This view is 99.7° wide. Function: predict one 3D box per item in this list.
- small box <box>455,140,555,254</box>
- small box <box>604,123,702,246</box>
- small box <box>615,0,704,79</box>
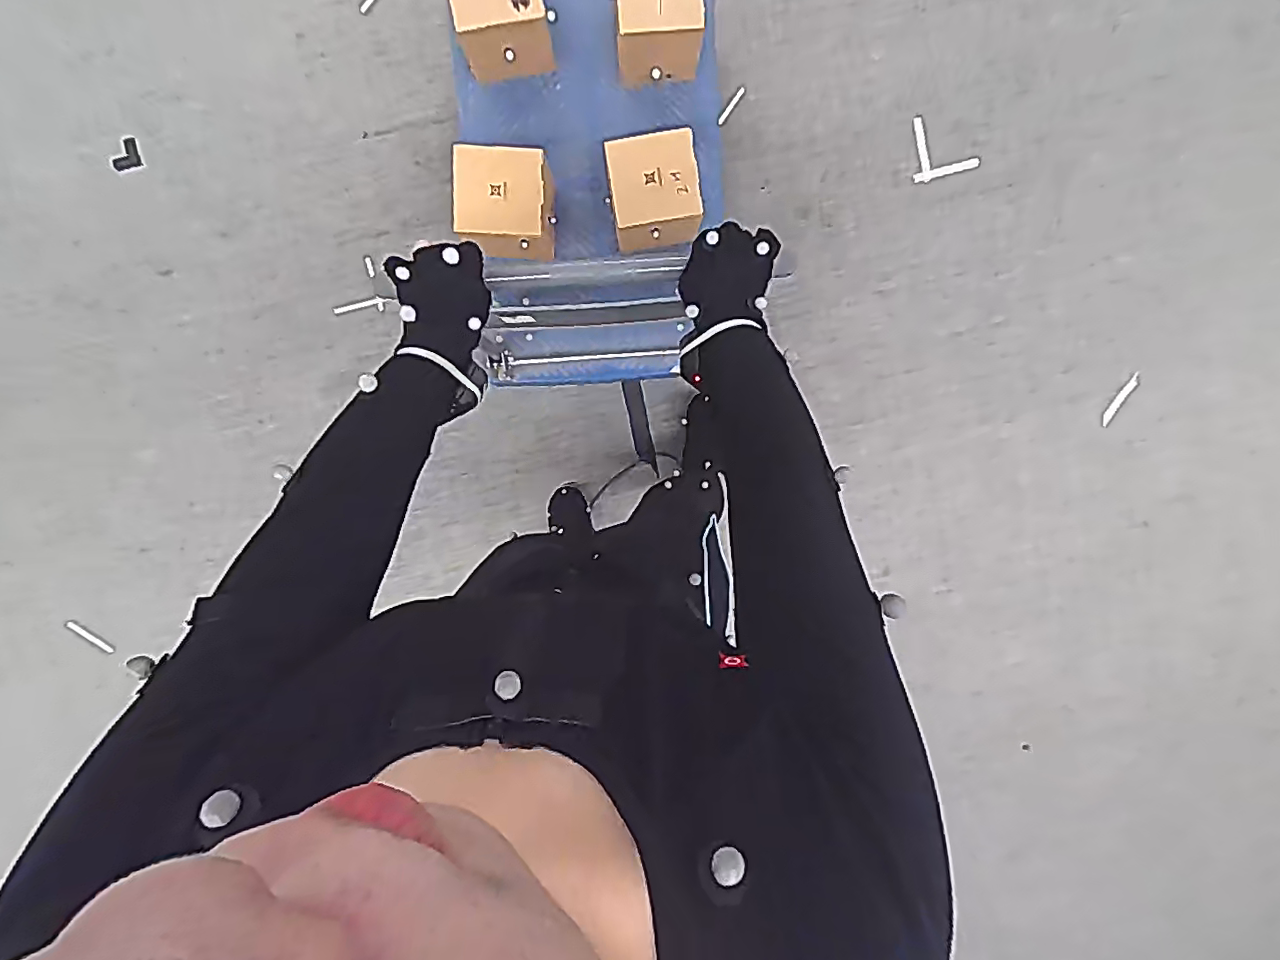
[{"bbox_3d":[-0.278,-0.587,1.141,0.179,0.176,0.168,1,97,-2],"label":"small box"},{"bbox_3d":[0.027,-0.613,1.143,0.179,0.176,0.168,-9,97,0],"label":"small box"},{"bbox_3d":[0.034,-0.964,1.100,0.168,0.176,0.179,-4,98,-1],"label":"small box"}]
